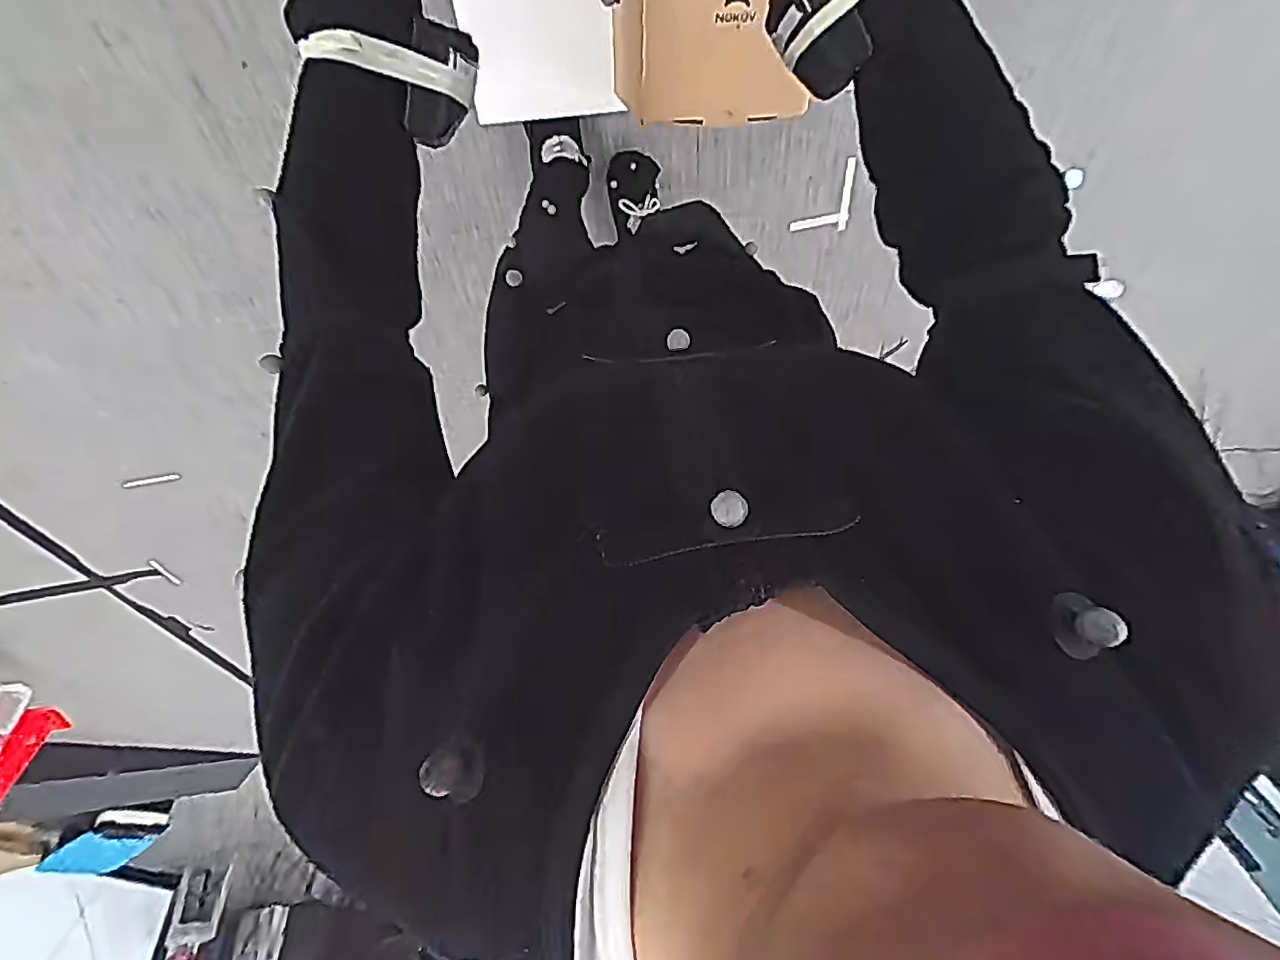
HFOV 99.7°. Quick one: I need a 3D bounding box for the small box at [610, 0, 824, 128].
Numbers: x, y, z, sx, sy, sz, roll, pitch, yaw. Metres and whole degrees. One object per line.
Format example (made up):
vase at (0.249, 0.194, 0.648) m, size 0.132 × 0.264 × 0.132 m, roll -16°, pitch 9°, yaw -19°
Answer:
small box at (0.065, -0.461, 0.515) m, size 0.168 × 0.176 × 0.179 m, roll -8°, pitch 136°, yaw -8°
